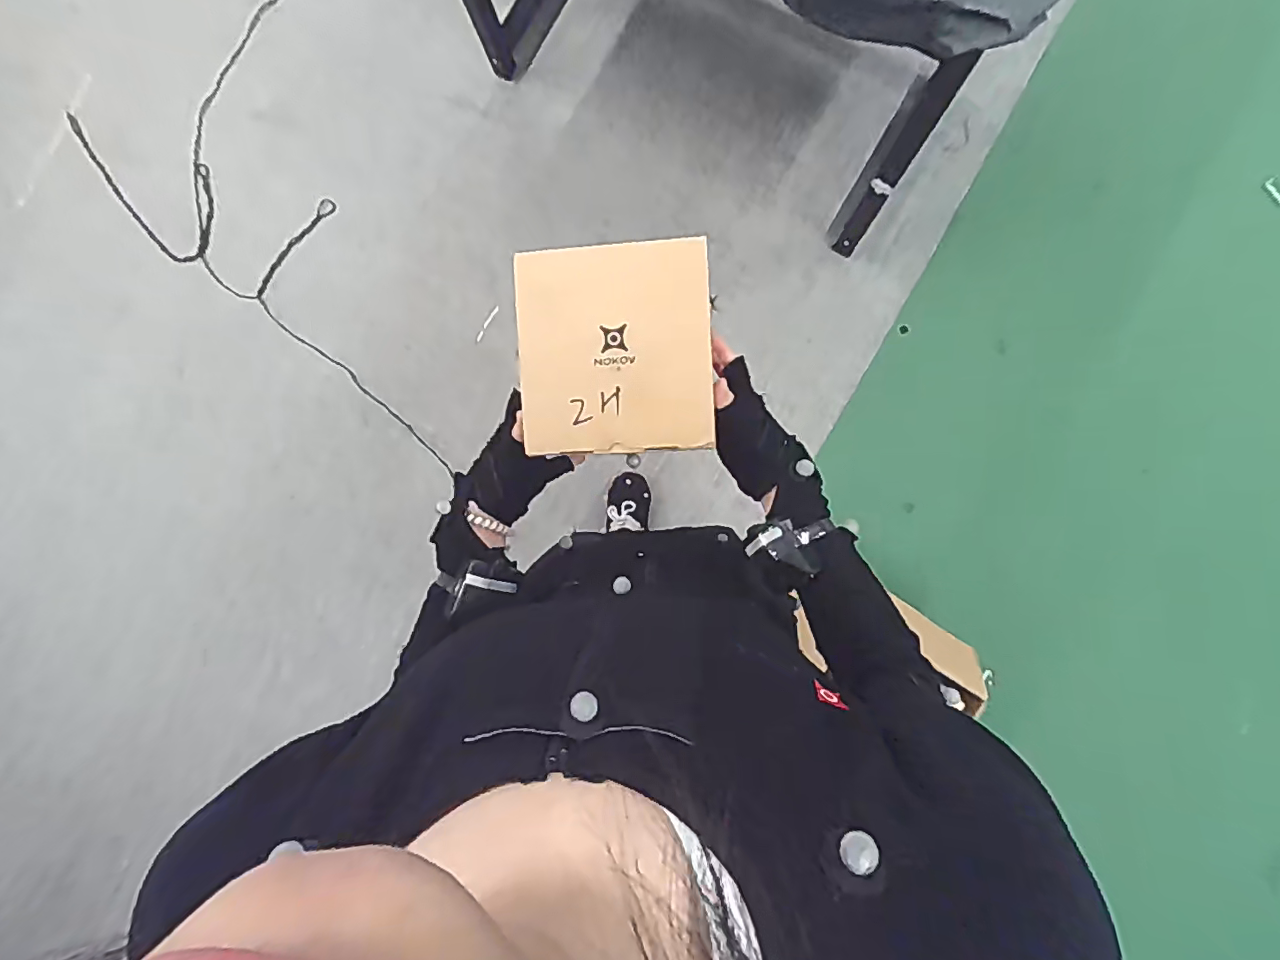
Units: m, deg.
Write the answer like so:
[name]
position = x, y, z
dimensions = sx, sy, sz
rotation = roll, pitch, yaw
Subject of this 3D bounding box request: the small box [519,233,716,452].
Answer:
[small box]
position = -0.013, -0.119, 0.534
dimensions = 0.168, 0.176, 0.179
rotation = -2, 93, 6
